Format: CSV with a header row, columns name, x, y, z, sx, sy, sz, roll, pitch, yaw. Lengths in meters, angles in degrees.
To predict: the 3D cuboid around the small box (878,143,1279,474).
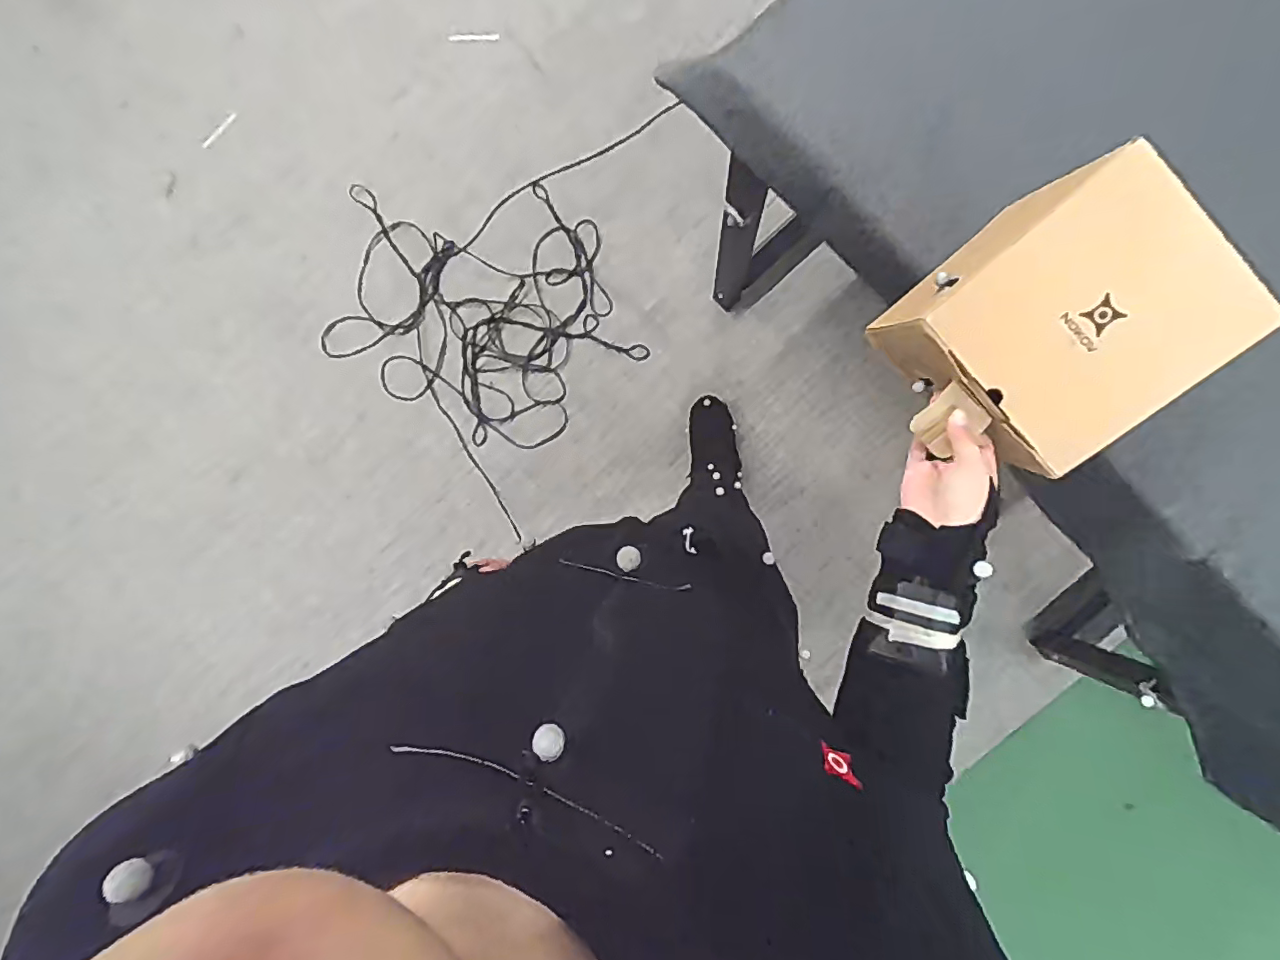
name,x,y,z,sx,sy,sz,roll,pitch,yaw
small box,0.344,-0.135,0.470,0.179,0.176,0.168,-42,94,15
